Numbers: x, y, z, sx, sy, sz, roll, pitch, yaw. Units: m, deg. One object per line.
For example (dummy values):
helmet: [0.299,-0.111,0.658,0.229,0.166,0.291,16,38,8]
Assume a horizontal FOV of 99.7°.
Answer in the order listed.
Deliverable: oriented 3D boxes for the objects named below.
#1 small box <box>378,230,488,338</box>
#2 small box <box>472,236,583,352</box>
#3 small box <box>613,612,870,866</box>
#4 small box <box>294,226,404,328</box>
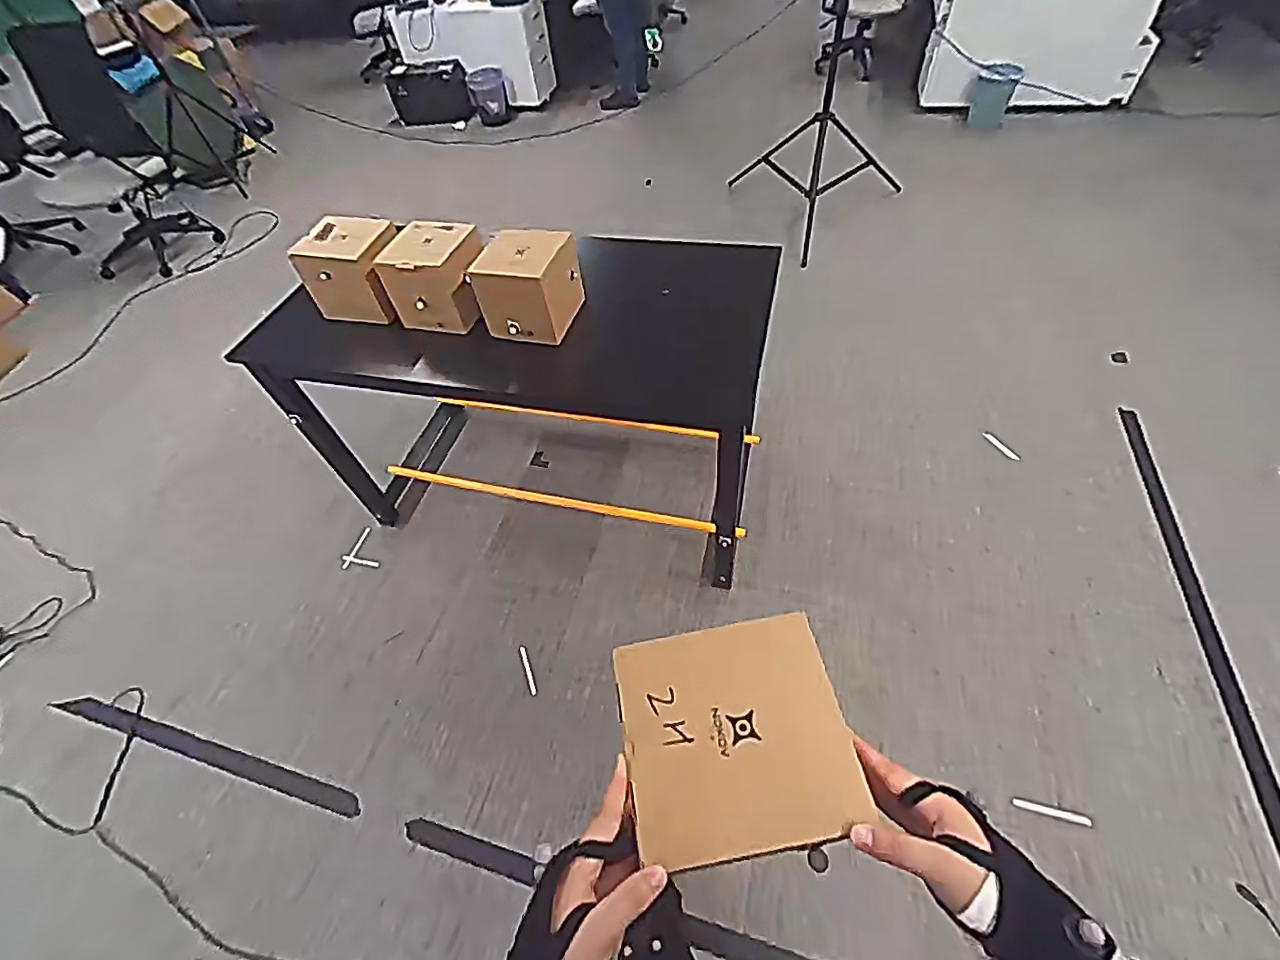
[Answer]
small box: [-0.450,-0.447,1.237,0.168,0.176,0.179,9,54,13]
small box: [-0.234,-0.409,1.186,0.168,0.176,0.179,9,54,14]
small box: [0.079,0.244,0.502,0.179,0.176,0.168,-11,53,-1]
small box: [-0.658,-0.479,1.283,0.179,0.176,0.168,8,54,11]
